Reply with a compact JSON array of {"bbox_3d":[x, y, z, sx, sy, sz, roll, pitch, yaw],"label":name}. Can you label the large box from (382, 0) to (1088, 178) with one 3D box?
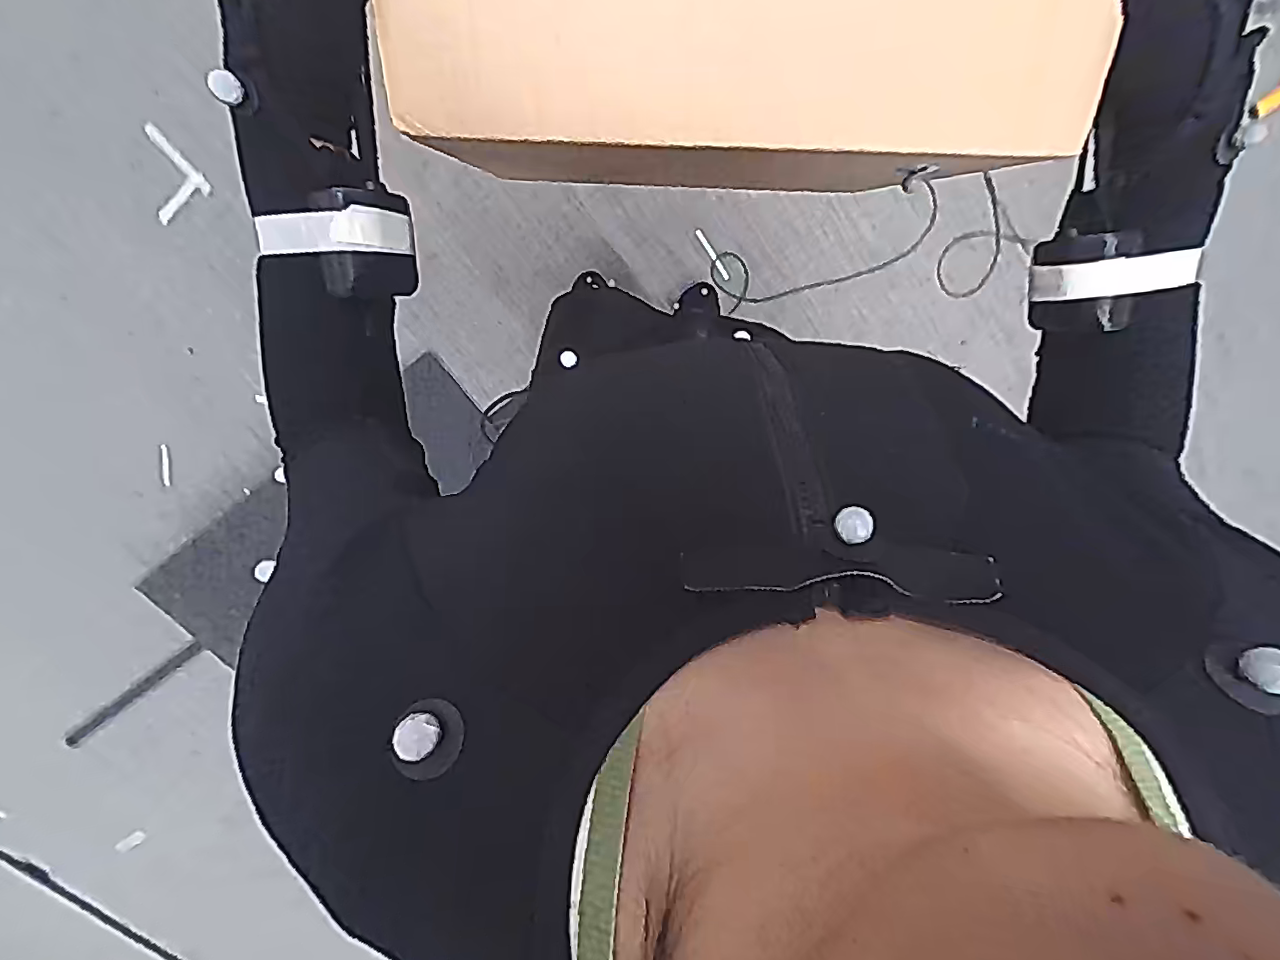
[{"bbox_3d":[0.052,-0.406,0.397,0.408,0.320,0.320,-1,115,-2],"label":"large box"}]
